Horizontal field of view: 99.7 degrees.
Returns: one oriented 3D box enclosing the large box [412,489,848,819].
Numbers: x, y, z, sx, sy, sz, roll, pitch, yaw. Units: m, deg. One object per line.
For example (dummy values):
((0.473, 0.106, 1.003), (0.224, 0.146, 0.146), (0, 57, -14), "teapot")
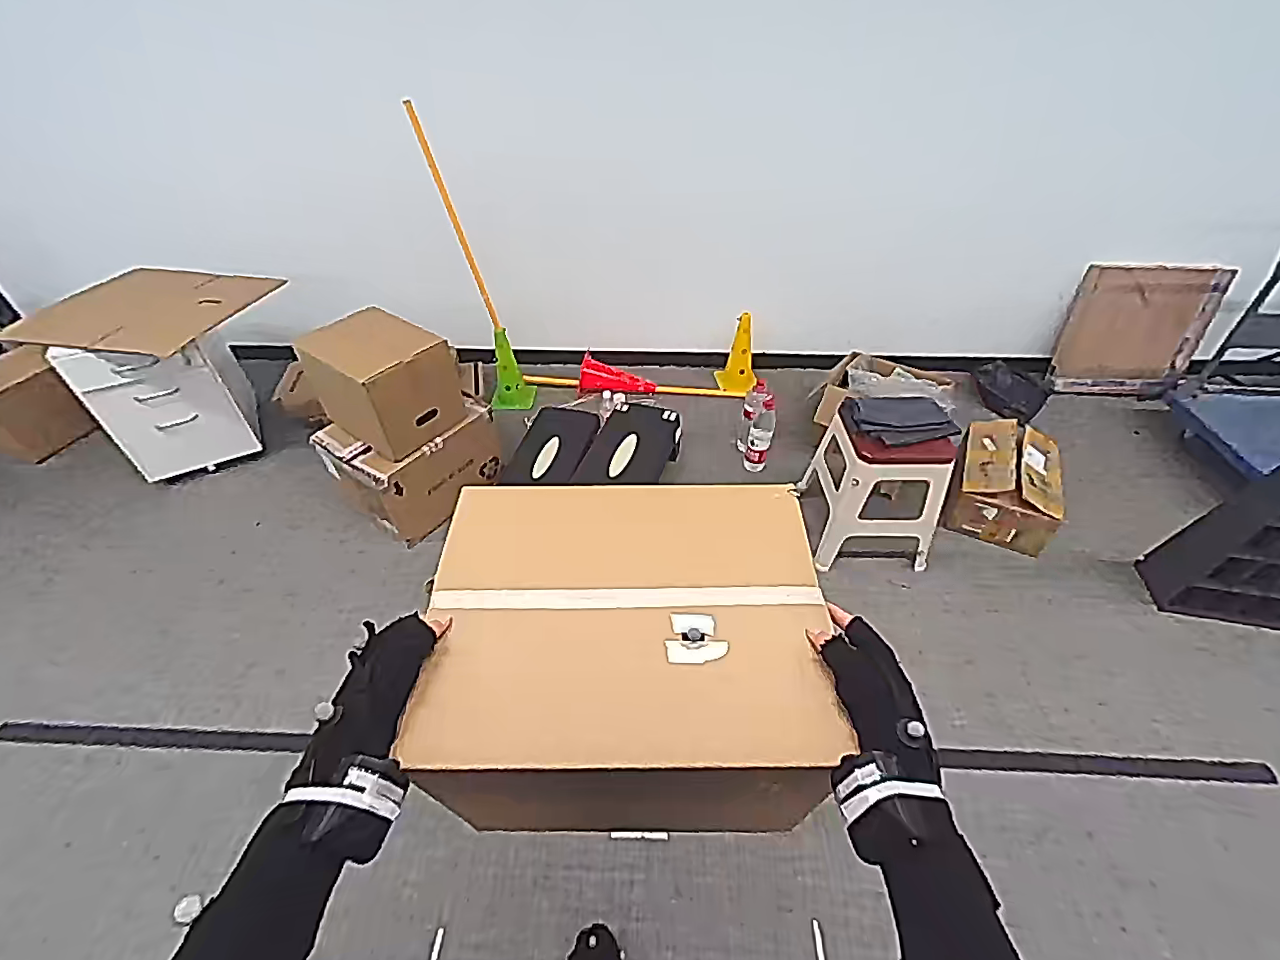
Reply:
((-0.012, 0.225, 0.692), (0.408, 0.320, 0.320), (0, 50, 0), "large box")
